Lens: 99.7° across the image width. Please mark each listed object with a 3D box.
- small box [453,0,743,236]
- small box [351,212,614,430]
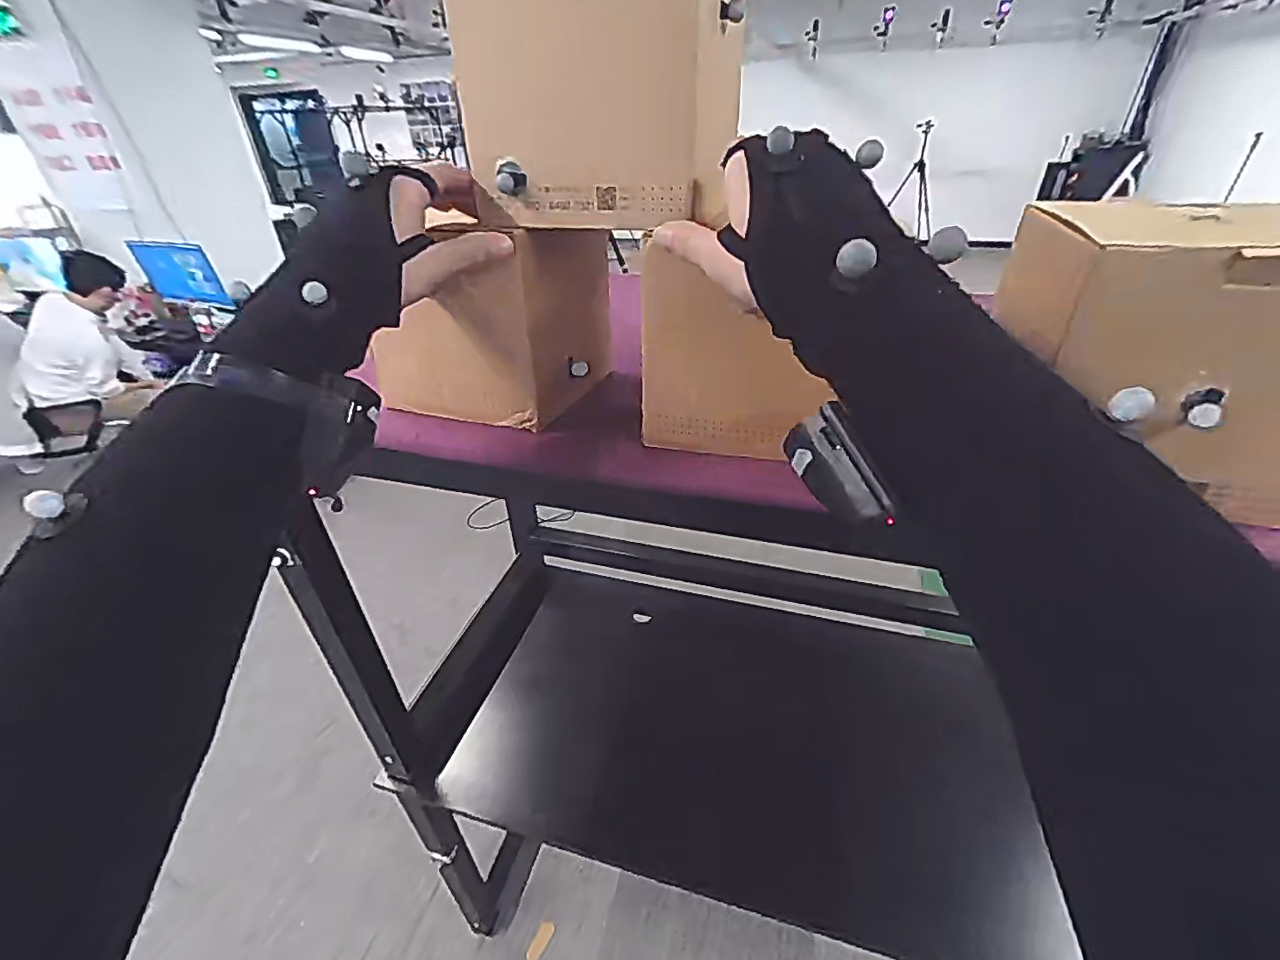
[{"bbox_3d":[-0.016,-0.292,0.425,0.168,0.176,0.179,8,32,15],"label":"small box"},{"bbox_3d":[-0.137,-0.163,0.534,0.179,0.176,0.168,11,34,18],"label":"small box"}]
